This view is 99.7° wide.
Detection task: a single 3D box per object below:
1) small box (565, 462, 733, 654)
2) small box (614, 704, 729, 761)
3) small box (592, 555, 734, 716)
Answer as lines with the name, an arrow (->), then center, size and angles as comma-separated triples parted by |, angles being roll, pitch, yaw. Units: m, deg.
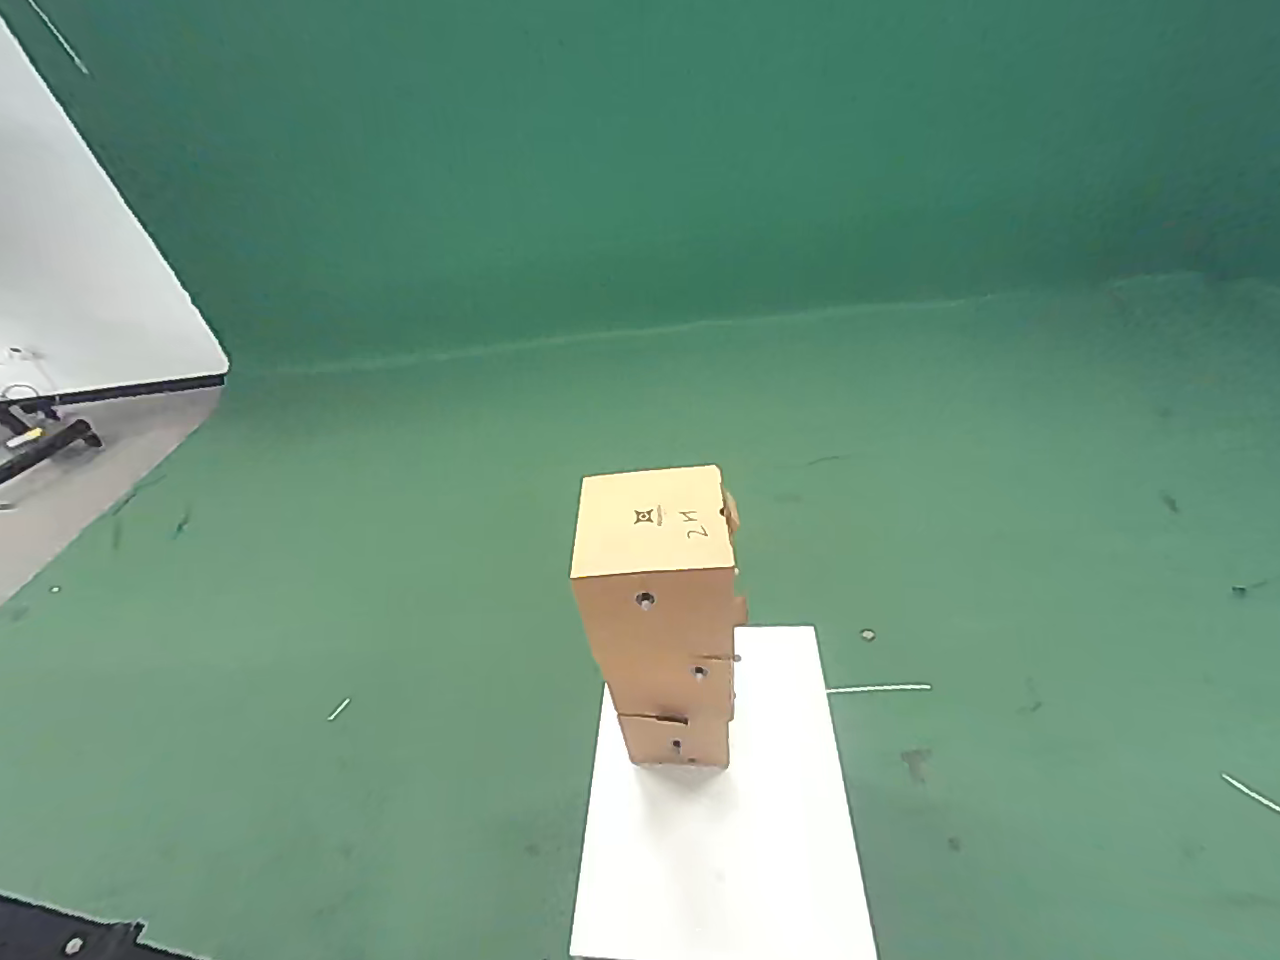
small box -> 0.019, 0.098, 0.665 | 0.179, 0.176, 0.168 | -4, 41, 5
small box -> 0.060, 0.338, 0.883 | 0.168, 0.176, 0.179 | -2, 41, 8
small box -> 0.044, 0.218, 0.775 | 0.179, 0.176, 0.168 | 0, 41, 10
